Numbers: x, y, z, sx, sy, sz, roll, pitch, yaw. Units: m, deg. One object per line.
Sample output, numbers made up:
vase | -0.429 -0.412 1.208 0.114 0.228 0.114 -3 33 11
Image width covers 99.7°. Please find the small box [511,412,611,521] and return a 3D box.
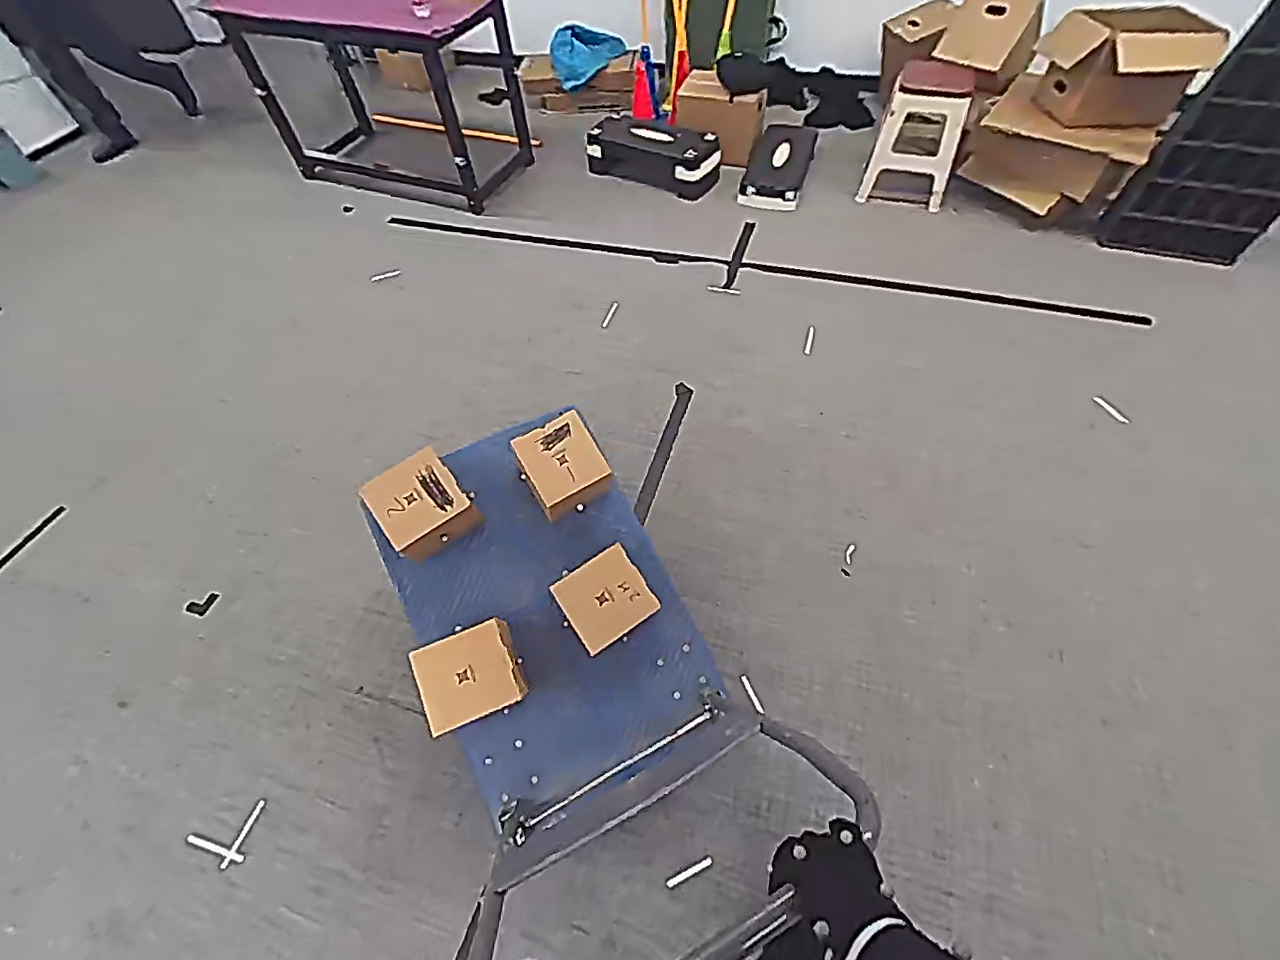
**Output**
small box | -0.184 -0.026 1.271 0.168 0.176 0.179 -30 79 -14

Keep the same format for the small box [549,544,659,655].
small box | -0.078 0.267 1.191 0.179 0.176 0.168 -32 79 -14

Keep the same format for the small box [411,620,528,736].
small box | -0.345 0.406 1.122 0.179 0.176 0.168 -21 76 -14
